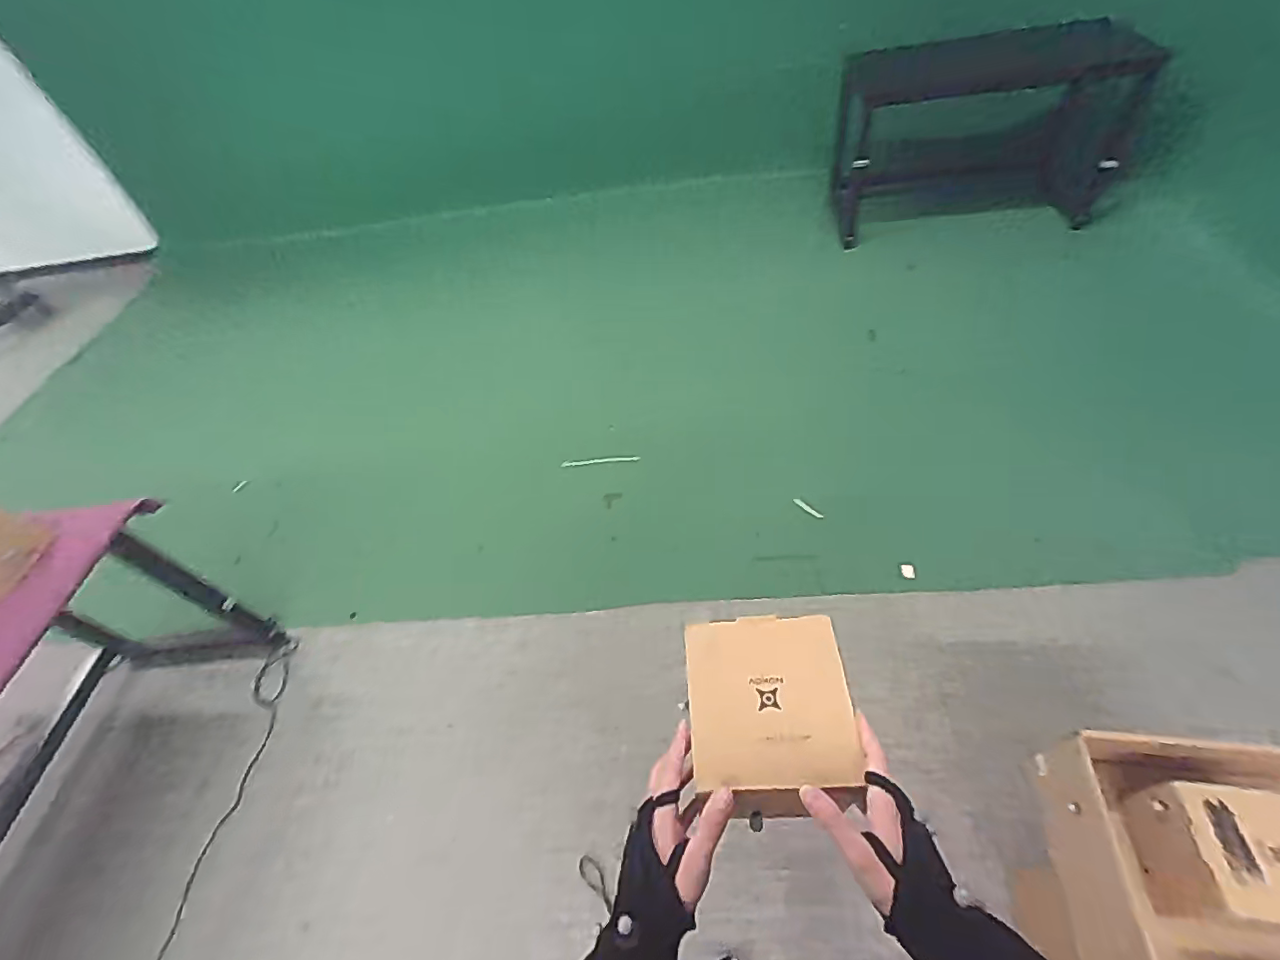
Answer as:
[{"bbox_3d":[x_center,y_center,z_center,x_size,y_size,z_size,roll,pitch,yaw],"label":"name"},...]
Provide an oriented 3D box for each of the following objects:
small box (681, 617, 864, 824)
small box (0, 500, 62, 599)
[{"bbox_3d":[0.134,0.276,0.617,0.168,0.176,0.179,-4,50,5],"label":"small box"},{"bbox_3d":[-1.453,0.151,1.173,0.179,0.176,0.168,-4,51,8],"label":"small box"}]
